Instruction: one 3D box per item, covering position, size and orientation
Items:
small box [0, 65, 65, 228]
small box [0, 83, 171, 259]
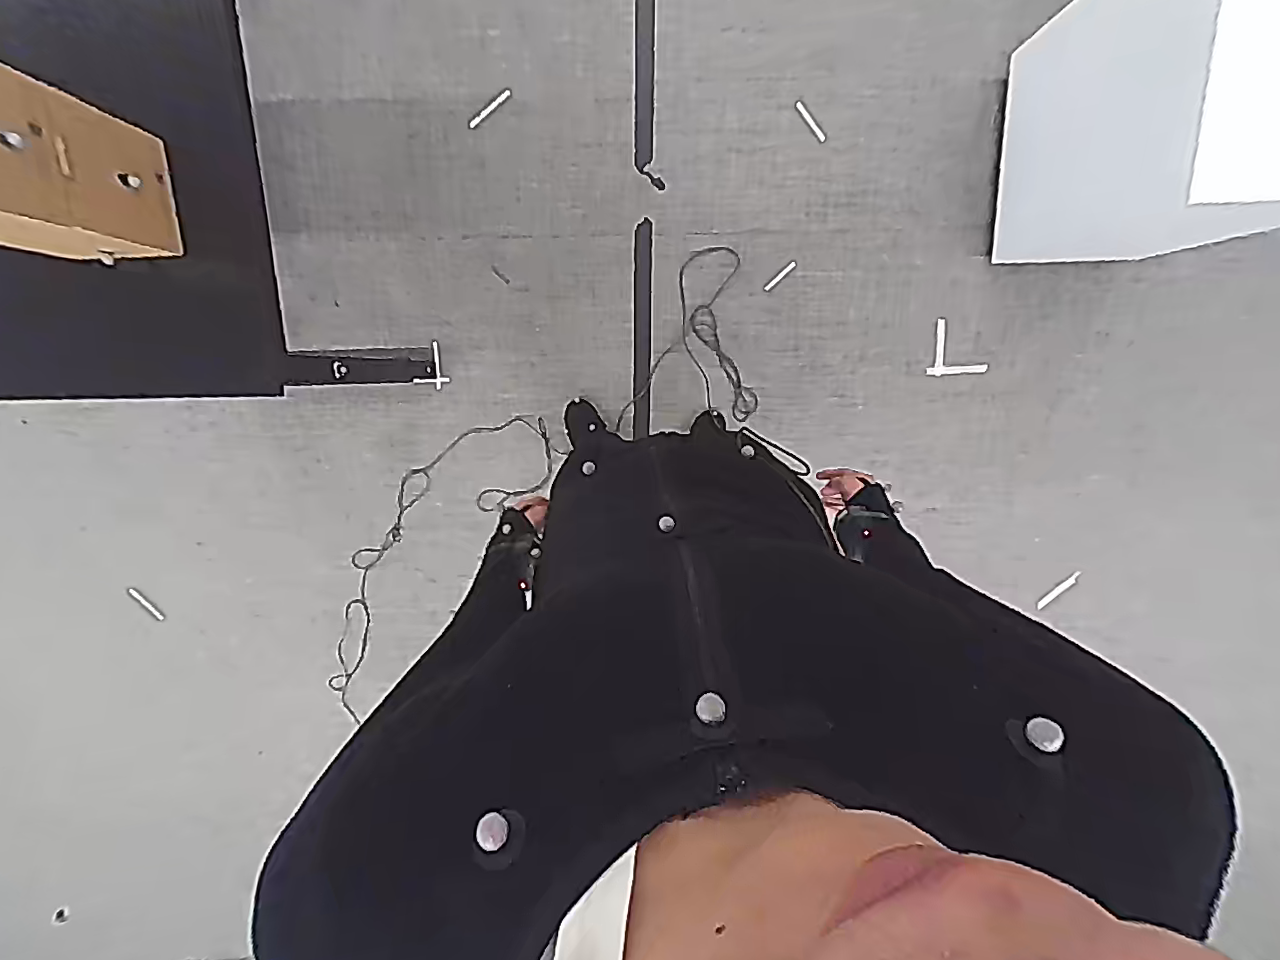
[{"bbox_3d":[-0.796,-0.374,0.576,0.179,0.176,0.168,-2,102,1],"label":"small box"},{"bbox_3d":[-0.792,-0.407,0.737,0.179,0.176,0.168,-2,101,1],"label":"small box"}]
